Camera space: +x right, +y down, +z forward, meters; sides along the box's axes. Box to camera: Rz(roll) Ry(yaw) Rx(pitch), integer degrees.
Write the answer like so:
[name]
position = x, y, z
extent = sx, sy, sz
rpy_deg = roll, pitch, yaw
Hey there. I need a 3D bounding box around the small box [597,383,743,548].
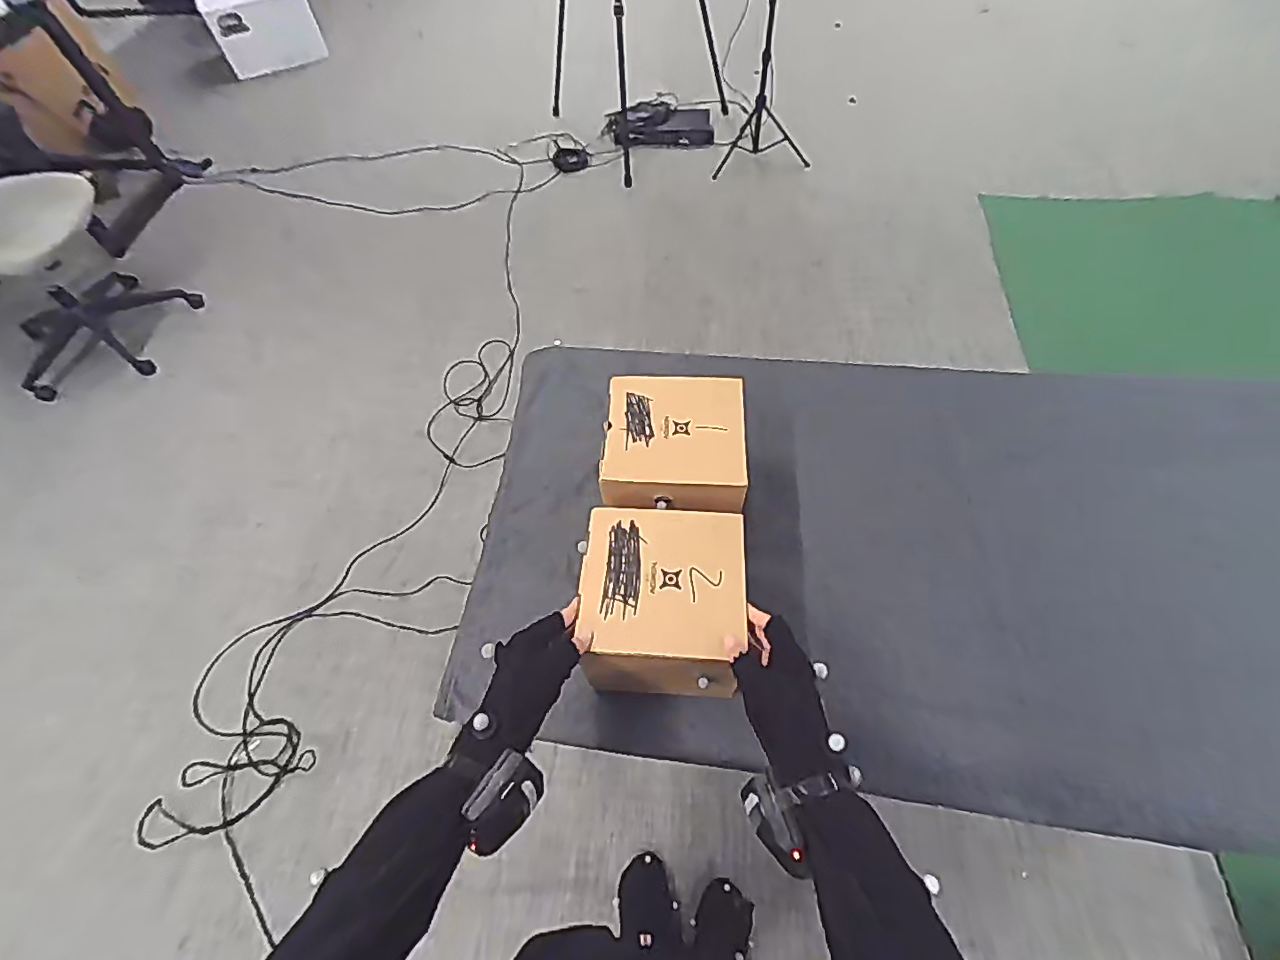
[small box]
position = 0.044, -0.015, 0.743
extent = 0.179, 0.176, 0.168
rpy_deg = 2, 59, 4
